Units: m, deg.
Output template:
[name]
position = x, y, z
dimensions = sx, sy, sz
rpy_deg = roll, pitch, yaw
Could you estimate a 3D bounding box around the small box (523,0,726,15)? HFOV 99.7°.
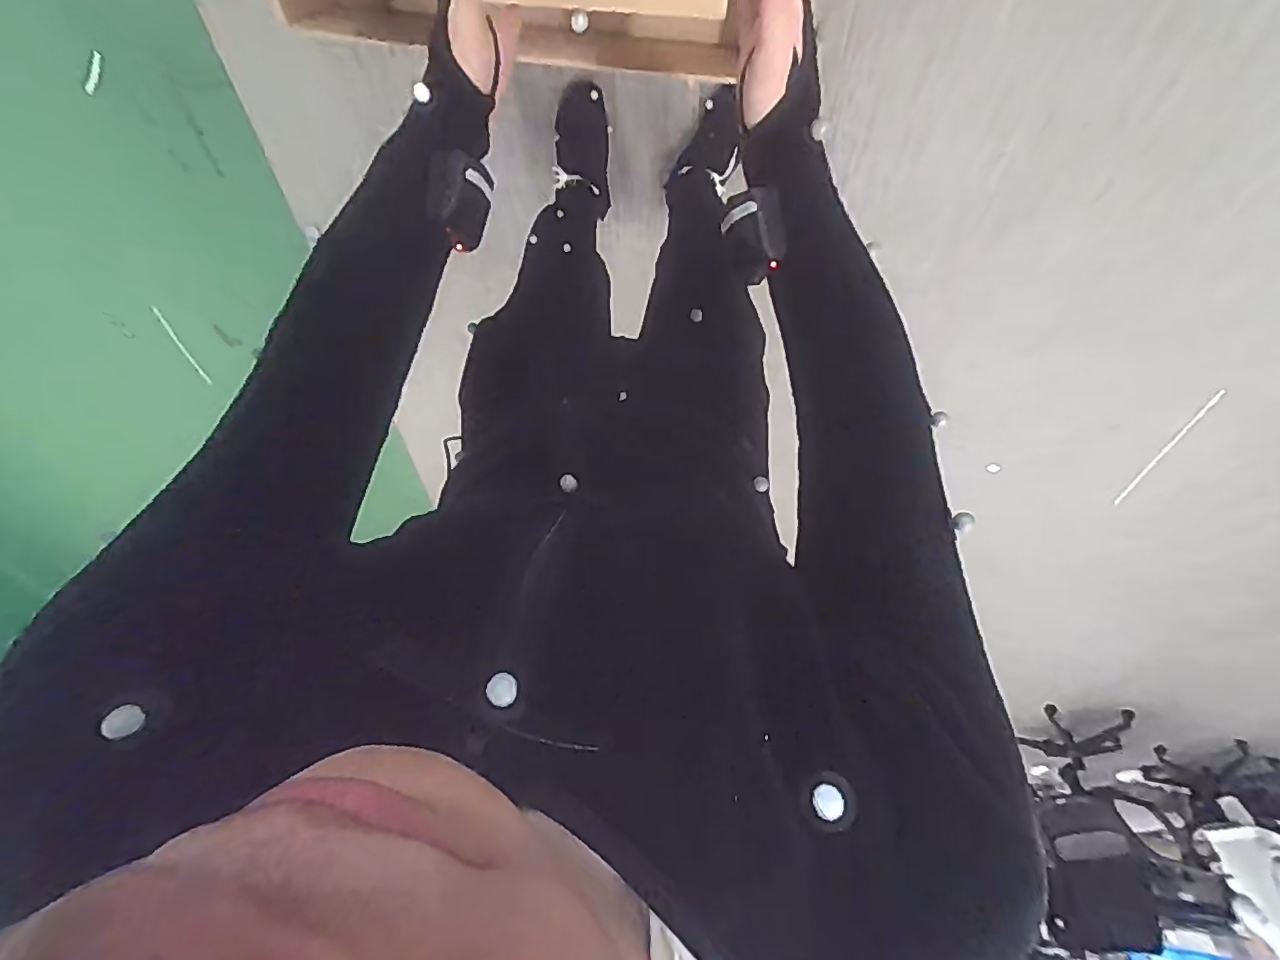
[small box]
position = -0.016, -0.420, 0.335
dimensions = 0.168, 0.176, 0.179
rpy_deg = 6, 139, 3
